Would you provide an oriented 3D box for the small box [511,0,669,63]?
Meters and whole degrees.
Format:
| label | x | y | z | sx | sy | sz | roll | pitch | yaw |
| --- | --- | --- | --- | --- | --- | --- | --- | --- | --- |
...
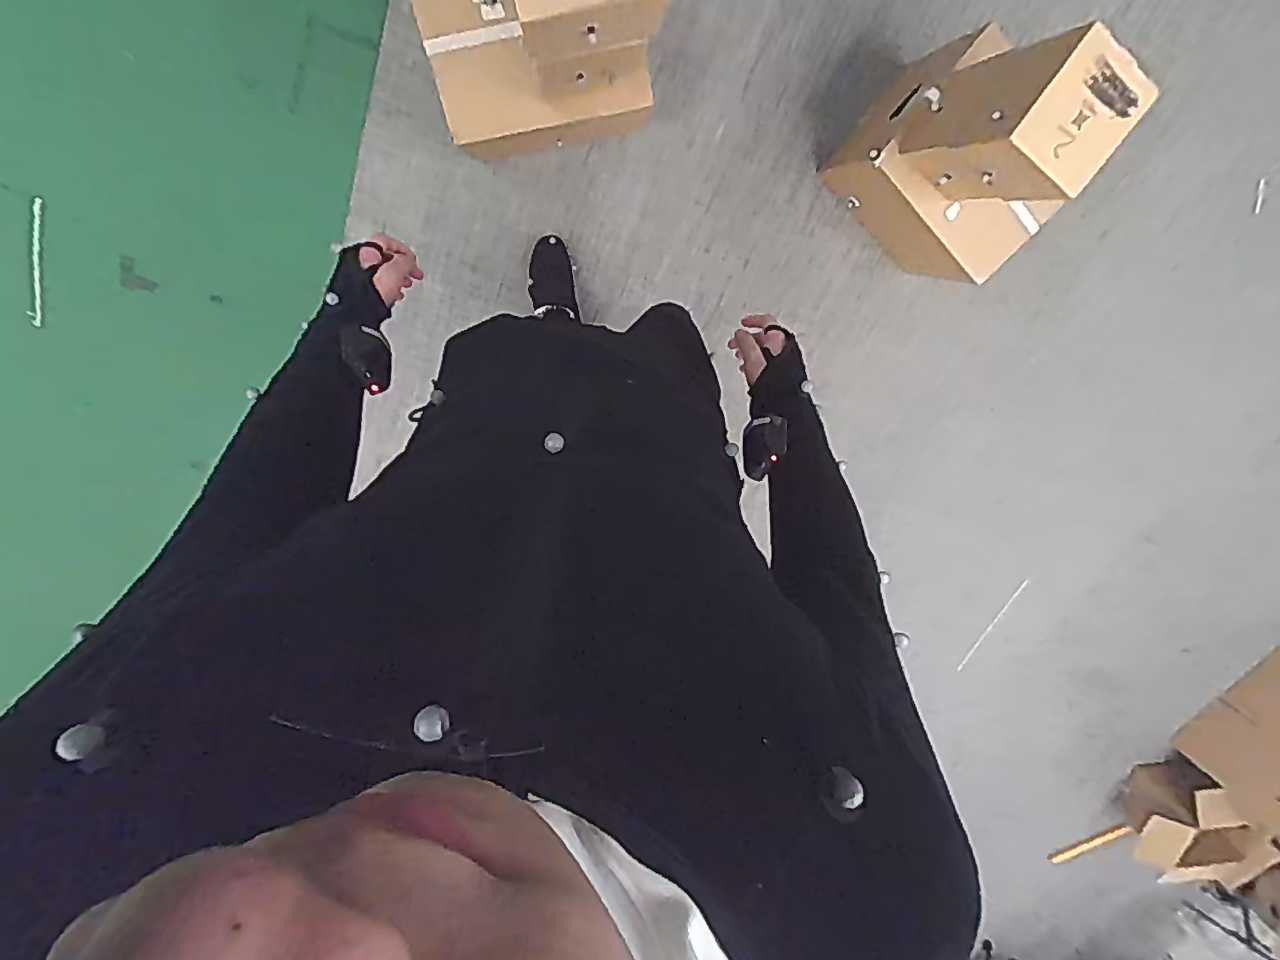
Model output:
| label | x | y | z | sx | sy | sz | roll | pitch | yaw |
| --- | --- | --- | --- | --- | --- | --- | --- | --- | --- |
| small box | -0.071 | -0.620 | 0.628 | 0.179 | 0.176 | 0.168 | -12 | 115 | 1 |

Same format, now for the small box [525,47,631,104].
| label | x | y | z | sx | sy | sz | roll | pitch | yaw |
| --- | --- | --- | --- | --- | --- | --- | --- | --- | --- |
| small box | -0.111 | -0.765 | 0.917 | 0.179 | 0.176 | 0.168 | -13 | 115 | 0 |

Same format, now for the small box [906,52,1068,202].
| label | x | y | z | sx | sy | sz | roll | pitch | yaw |
| --- | --- | --- | --- | --- | --- | --- | --- | --- | --- |
| small box | 0.654 | -0.667 | 1.050 | 0.168 | 0.176 | 0.179 | 28 | 109 | -18 |

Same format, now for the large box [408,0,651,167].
| label | x | y | z | sx | sy | sz | roll | pitch | yaw |
| --- | --- | --- | --- | --- | --- | --- | --- | --- | --- |
| large box | -0.213 | -0.879 | 1.126 | 0.408 | 0.320 | 0.320 | -12 | 114 | 0 |

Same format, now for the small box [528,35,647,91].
| label | x | y | z | sx | sy | sz | roll | pitch | yaw |
| --- | --- | --- | --- | --- | --- | --- | --- | --- | --- |
| small box | -0.091 | -0.692 | 0.774 | 0.168 | 0.176 | 0.179 | -11 | 116 | -1 |
